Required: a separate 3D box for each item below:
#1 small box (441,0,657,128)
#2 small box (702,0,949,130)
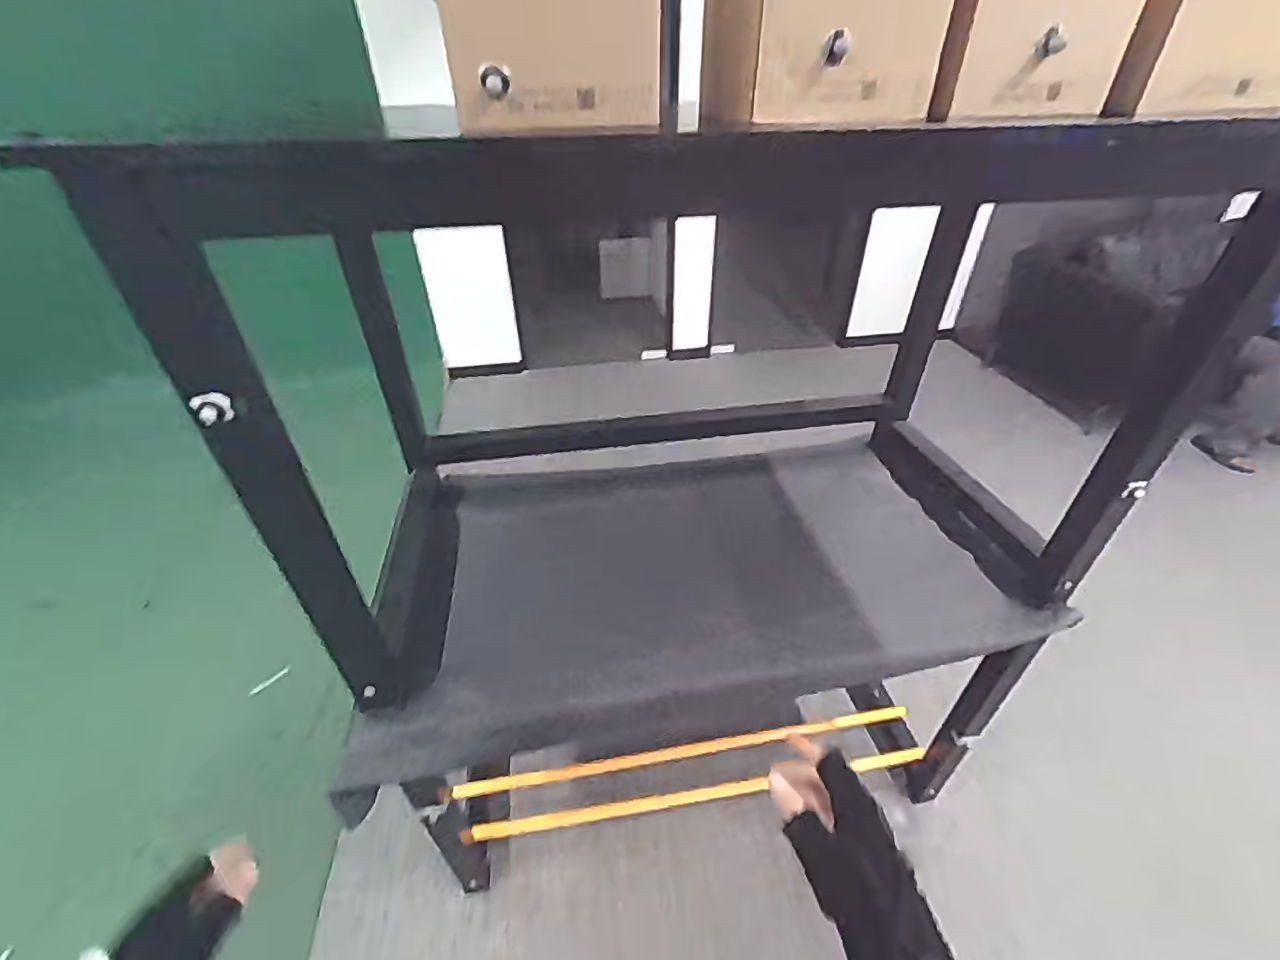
[{"bbox_3d":[-0.080,-0.409,0.467,0.168,0.176,0.179,-7,36,-8],"label":"small box"},{"bbox_3d":[0.160,-0.431,0.499,0.168,0.176,0.179,-6,37,-8],"label":"small box"}]
